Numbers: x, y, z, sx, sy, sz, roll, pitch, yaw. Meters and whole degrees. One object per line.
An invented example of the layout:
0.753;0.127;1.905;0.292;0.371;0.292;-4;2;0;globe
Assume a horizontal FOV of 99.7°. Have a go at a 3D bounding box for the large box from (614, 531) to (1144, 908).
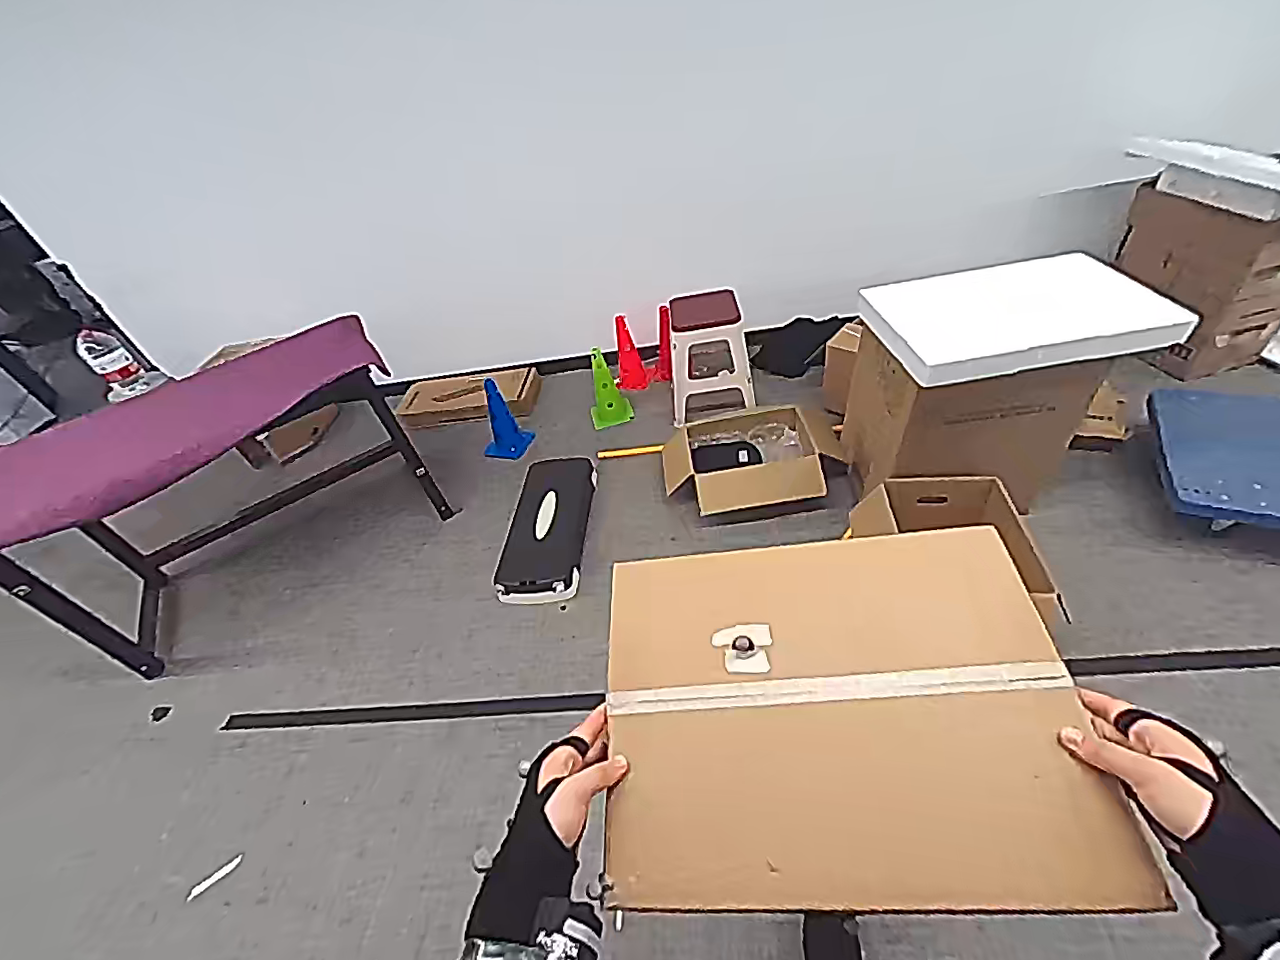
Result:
0.203;0.292;0.624;0.408;0.320;0.320;-8;49;9;large box
